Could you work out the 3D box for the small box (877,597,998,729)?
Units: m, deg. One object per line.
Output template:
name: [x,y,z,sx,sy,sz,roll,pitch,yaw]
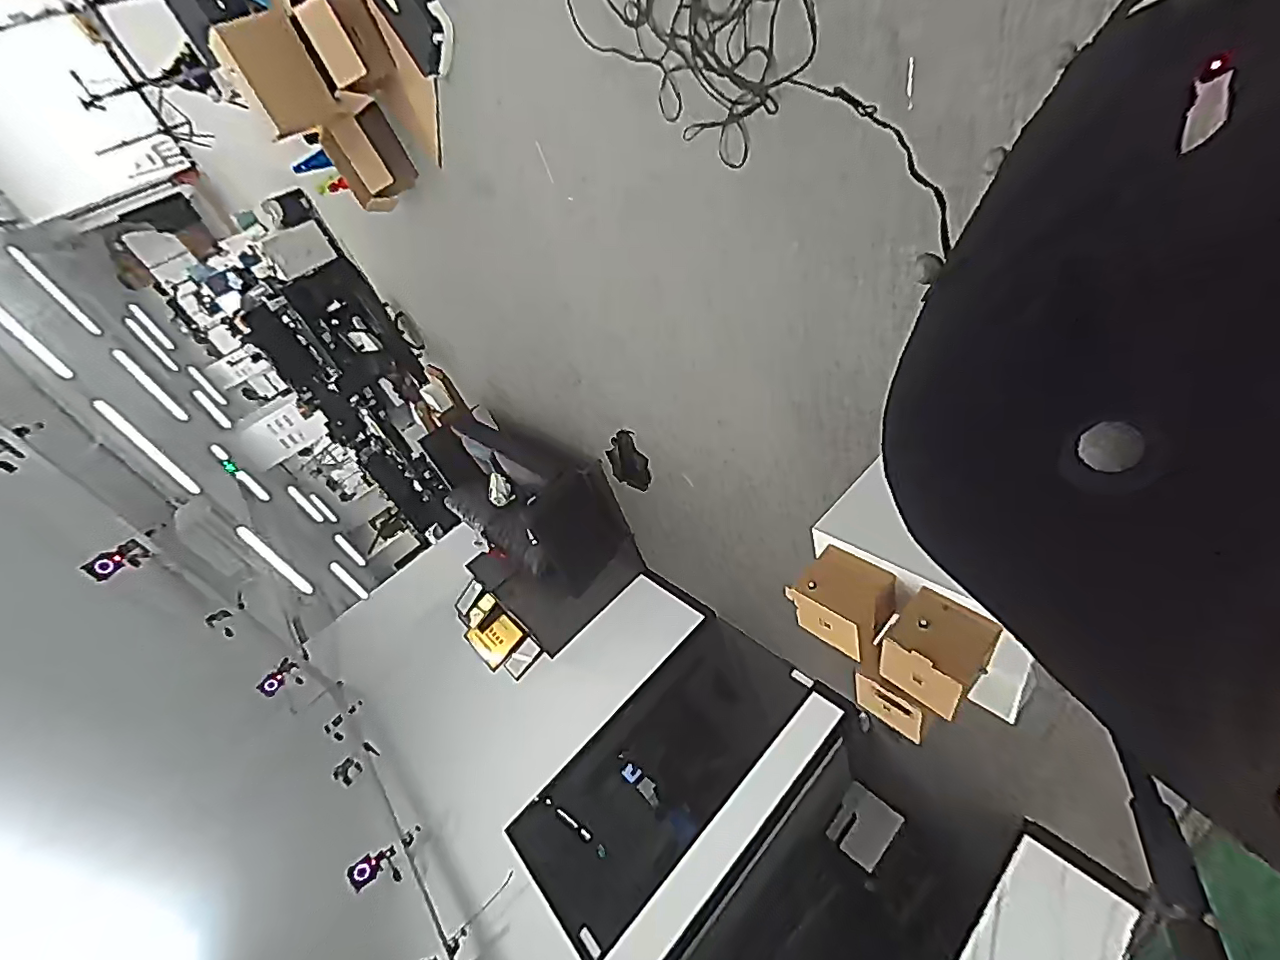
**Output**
small box: [0.636,0.386,1.163,0.168,0.176,0.179,32,153,41]
